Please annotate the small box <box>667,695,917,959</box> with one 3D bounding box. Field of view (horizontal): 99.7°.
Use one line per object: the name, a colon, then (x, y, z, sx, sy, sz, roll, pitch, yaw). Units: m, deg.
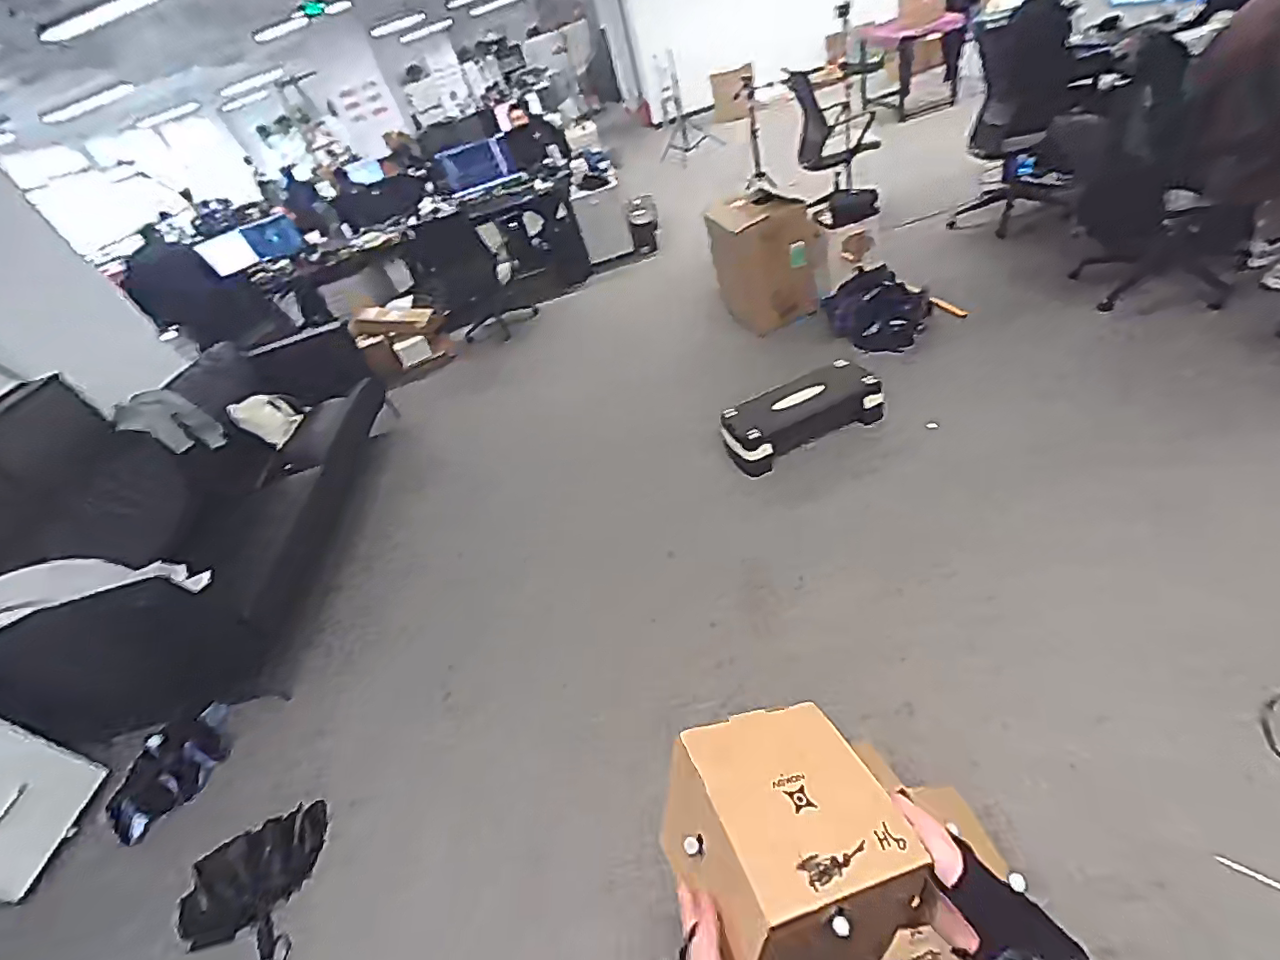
small box: (0.130, 0.354, 0.538, 0.168, 0.176, 0.179, -7, 26, -17)
